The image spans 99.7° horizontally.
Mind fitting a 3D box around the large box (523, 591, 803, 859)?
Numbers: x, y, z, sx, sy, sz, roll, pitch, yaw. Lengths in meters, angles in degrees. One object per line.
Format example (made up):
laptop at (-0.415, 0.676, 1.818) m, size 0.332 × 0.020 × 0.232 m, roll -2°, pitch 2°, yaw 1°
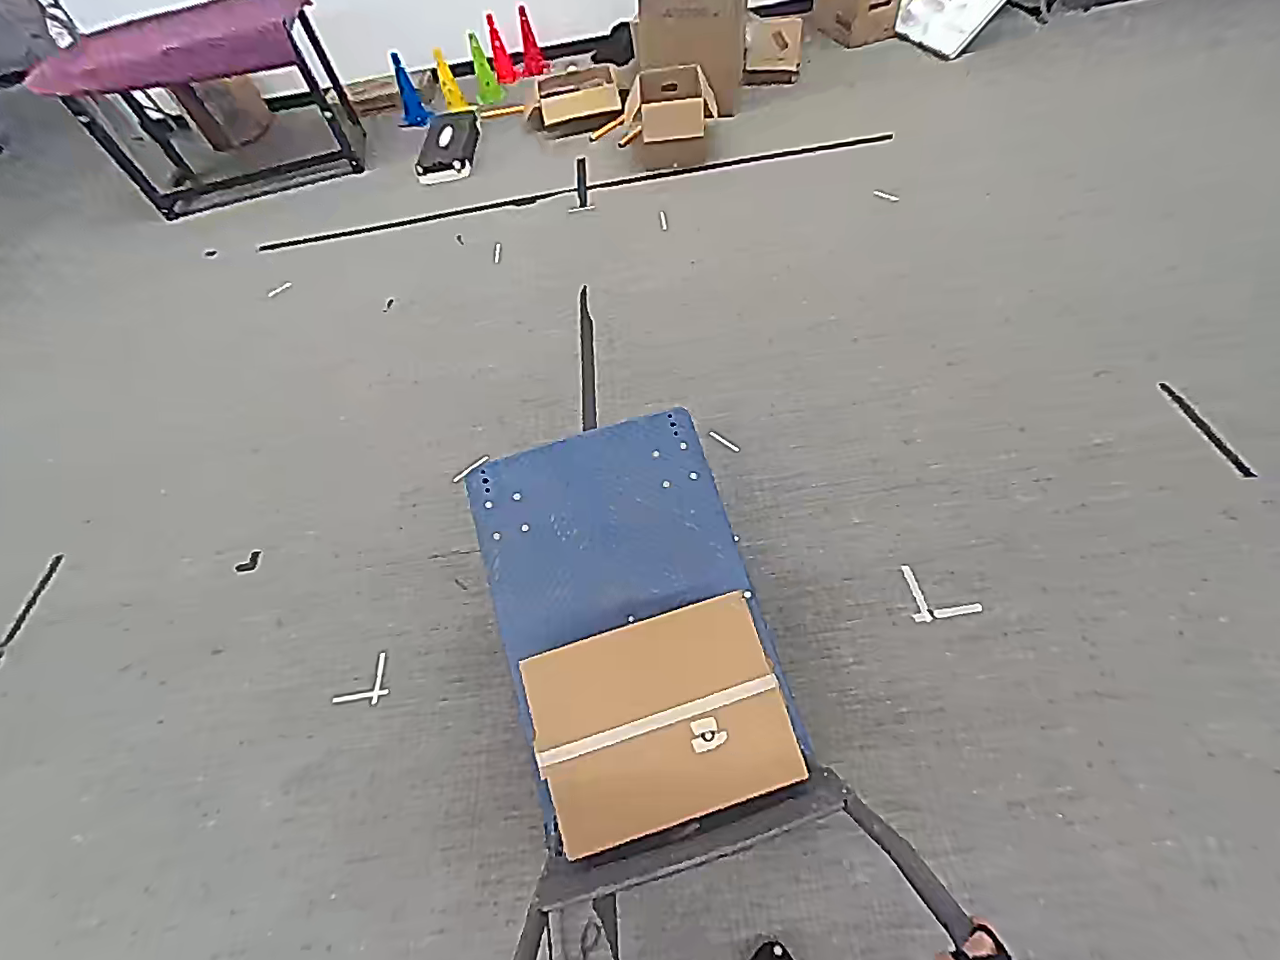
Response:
large box at (0.032, 0.436, 1.042) m, size 0.408 × 0.320 × 0.320 m, roll -17°, pitch 76°, yaw -5°
